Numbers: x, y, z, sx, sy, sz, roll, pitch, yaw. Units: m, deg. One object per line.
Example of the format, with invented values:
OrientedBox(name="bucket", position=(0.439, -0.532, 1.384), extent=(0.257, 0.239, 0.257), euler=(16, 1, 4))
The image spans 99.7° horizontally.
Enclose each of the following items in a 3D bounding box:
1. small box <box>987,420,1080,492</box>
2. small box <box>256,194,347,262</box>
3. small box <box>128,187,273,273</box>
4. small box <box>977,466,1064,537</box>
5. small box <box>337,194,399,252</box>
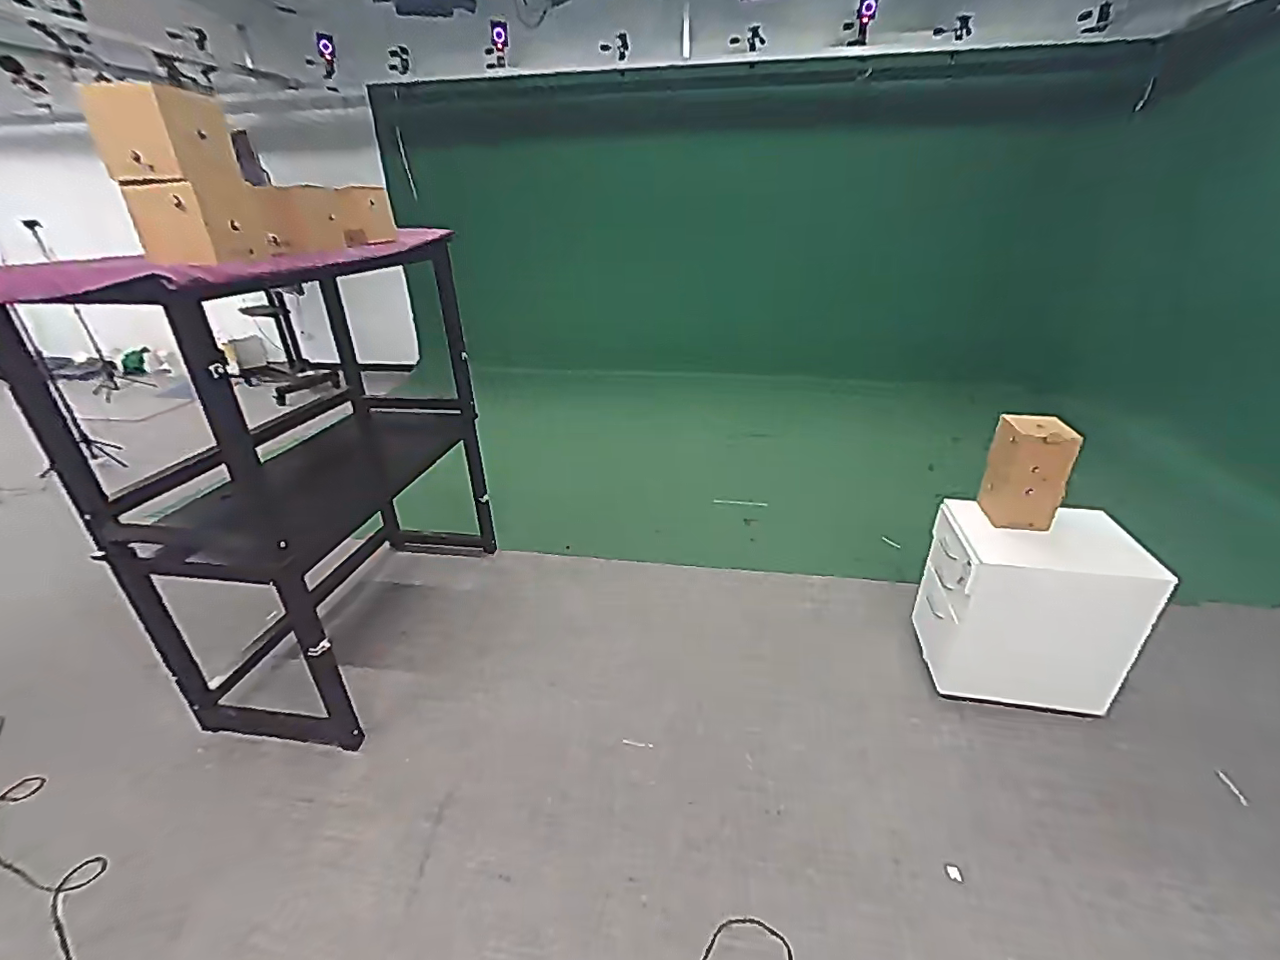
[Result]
OrientedBox(name="small box", position=(1.248, -0.079, 1.732), extent=(0.168, 0.176, 0.179), euler=(4, 29, 10))
OrientedBox(name="small box", position=(-0.974, -0.725, 1.553), extent=(0.168, 0.176, 0.179), euler=(2, 28, 7))
OrientedBox(name="small box", position=(-0.995, -0.575, 1.245), extent=(0.179, 0.176, 0.168), euler=(2, 26, 6))
OrientedBox(name="small box", position=(1.256, 0.068, 1.801), extent=(0.168, 0.176, 0.179), euler=(4, 27, 10))
OrientedBox(name="small box", position=(-0.951, -0.872, 1.839), extent=(0.168, 0.176, 0.179), euler=(2, 27, 11))
